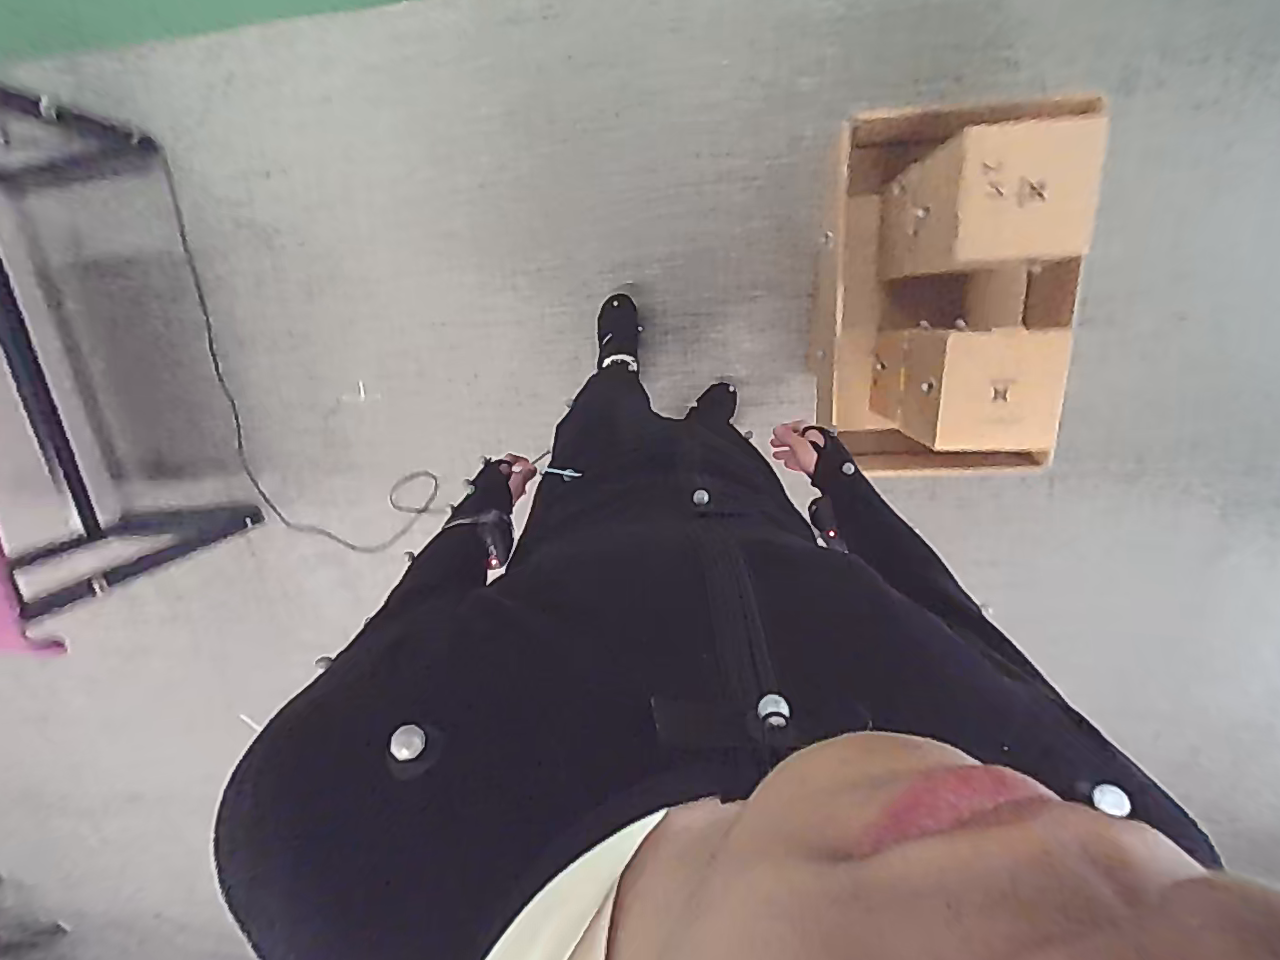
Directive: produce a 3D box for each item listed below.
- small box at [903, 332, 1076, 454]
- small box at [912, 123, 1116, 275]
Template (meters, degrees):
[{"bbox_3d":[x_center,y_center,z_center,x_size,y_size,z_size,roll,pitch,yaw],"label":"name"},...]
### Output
[{"bbox_3d":[0.538,-0.145,0.861,0.168,0.176,0.179,1,106,7],"label":"small box"},{"bbox_3d":[0.528,-0.397,0.791,0.179,0.176,0.168,-1,105,6],"label":"small box"}]
